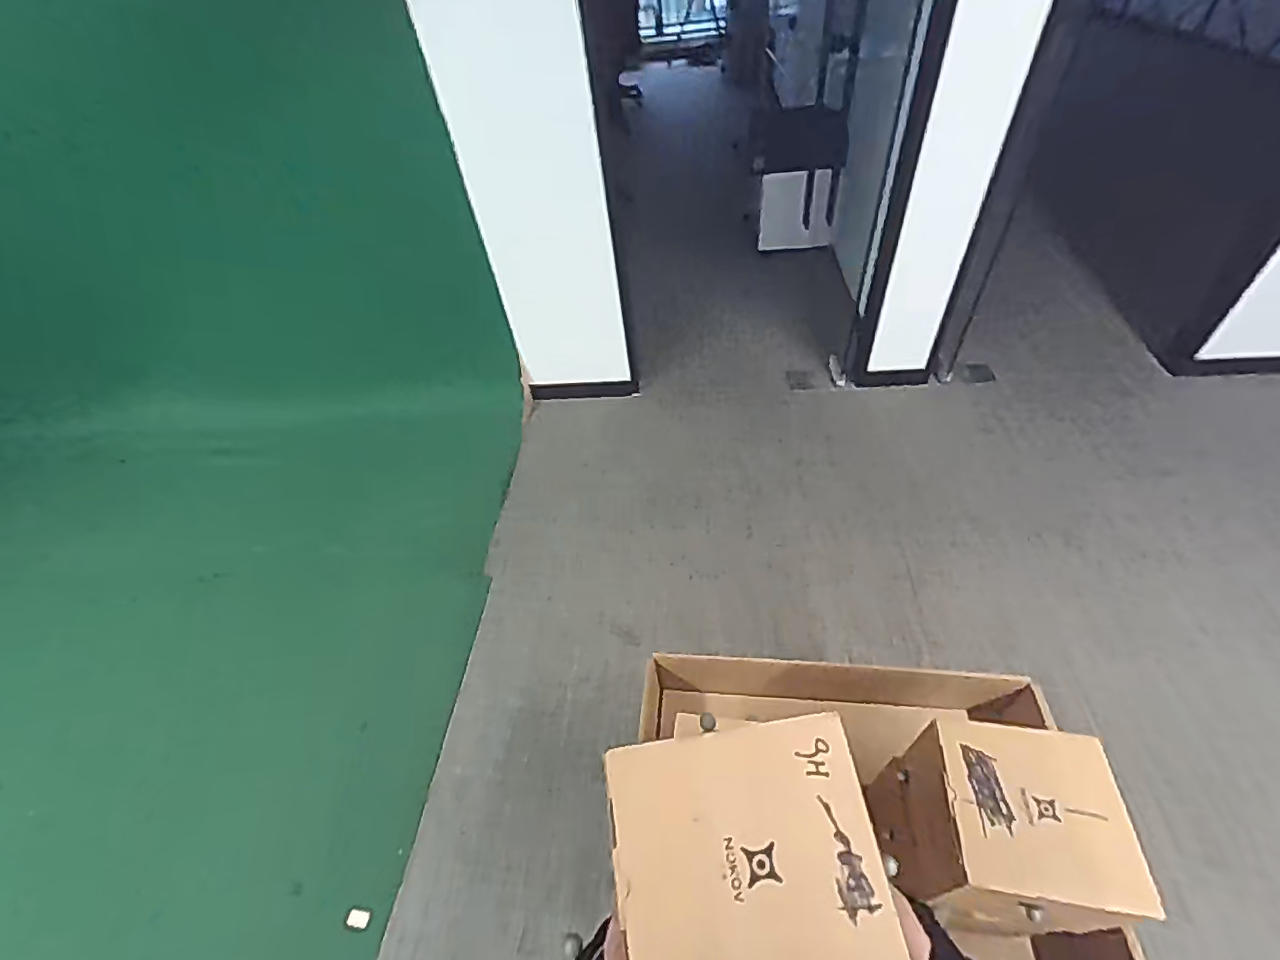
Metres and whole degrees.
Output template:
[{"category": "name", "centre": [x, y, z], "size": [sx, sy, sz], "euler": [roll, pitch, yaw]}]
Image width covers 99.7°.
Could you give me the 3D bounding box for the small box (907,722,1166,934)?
[{"category": "small box", "centre": [0.425, 0.402, 0.626], "size": [0.179, 0.176, 0.168], "euler": [3, 48, 10]}]

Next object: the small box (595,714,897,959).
[{"category": "small box", "centre": [0.068, 0.290, 0.423], "size": [0.179, 0.176, 0.168], "euler": [-9, 62, 0]}]
